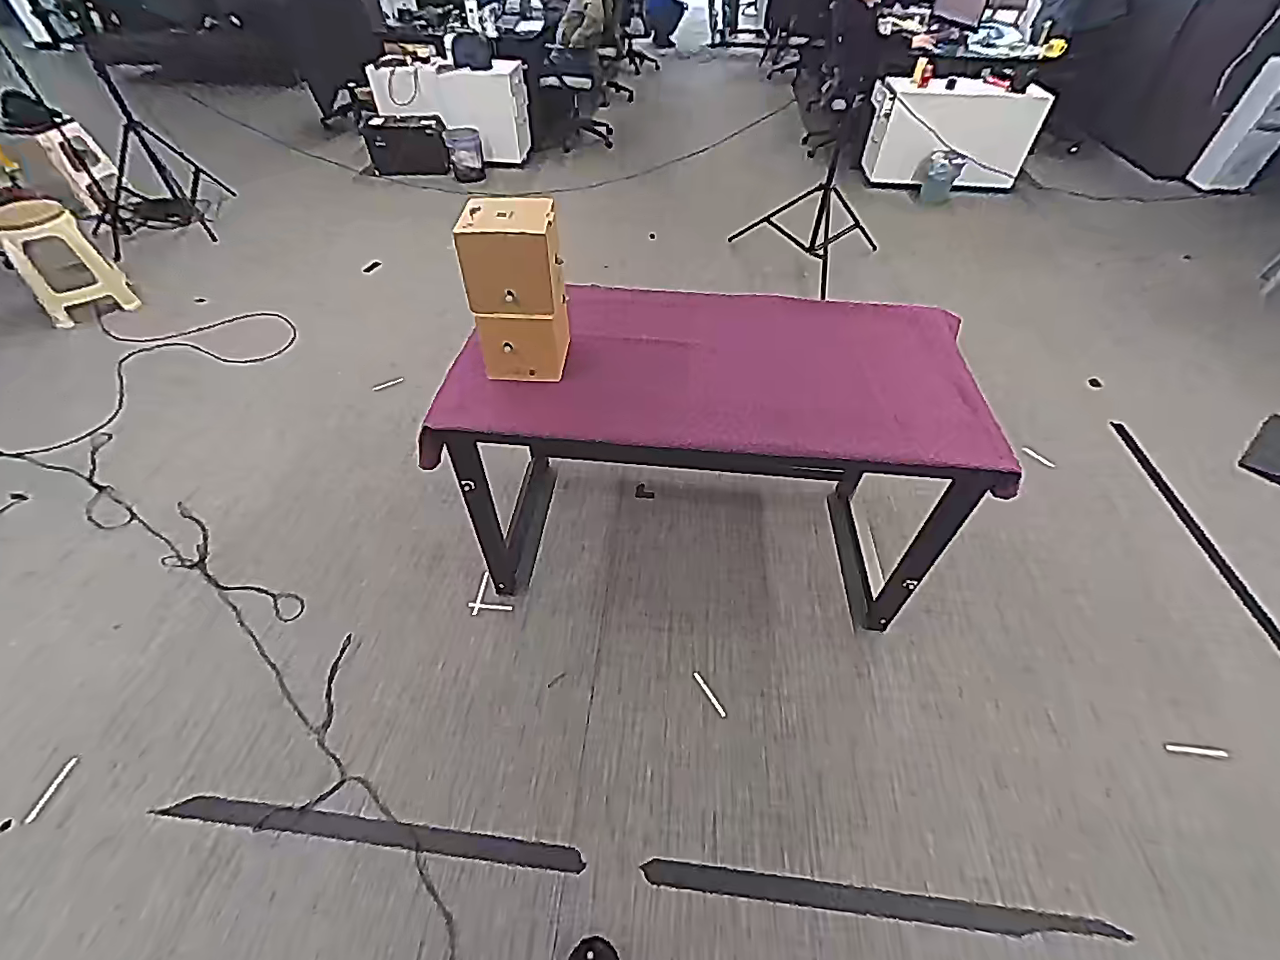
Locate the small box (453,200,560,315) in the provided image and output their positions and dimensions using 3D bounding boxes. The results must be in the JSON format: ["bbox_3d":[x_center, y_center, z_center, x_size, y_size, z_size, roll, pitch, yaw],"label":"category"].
[{"bbox_3d":[-0.262,-0.453,1.110,0.179,0.176,0.168,1,47,-1],"label":"small box"}]

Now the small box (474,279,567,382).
[{"bbox_3d":[-0.260,-0.337,1.226,0.168,0.176,0.179,2,47,1],"label":"small box"}]
